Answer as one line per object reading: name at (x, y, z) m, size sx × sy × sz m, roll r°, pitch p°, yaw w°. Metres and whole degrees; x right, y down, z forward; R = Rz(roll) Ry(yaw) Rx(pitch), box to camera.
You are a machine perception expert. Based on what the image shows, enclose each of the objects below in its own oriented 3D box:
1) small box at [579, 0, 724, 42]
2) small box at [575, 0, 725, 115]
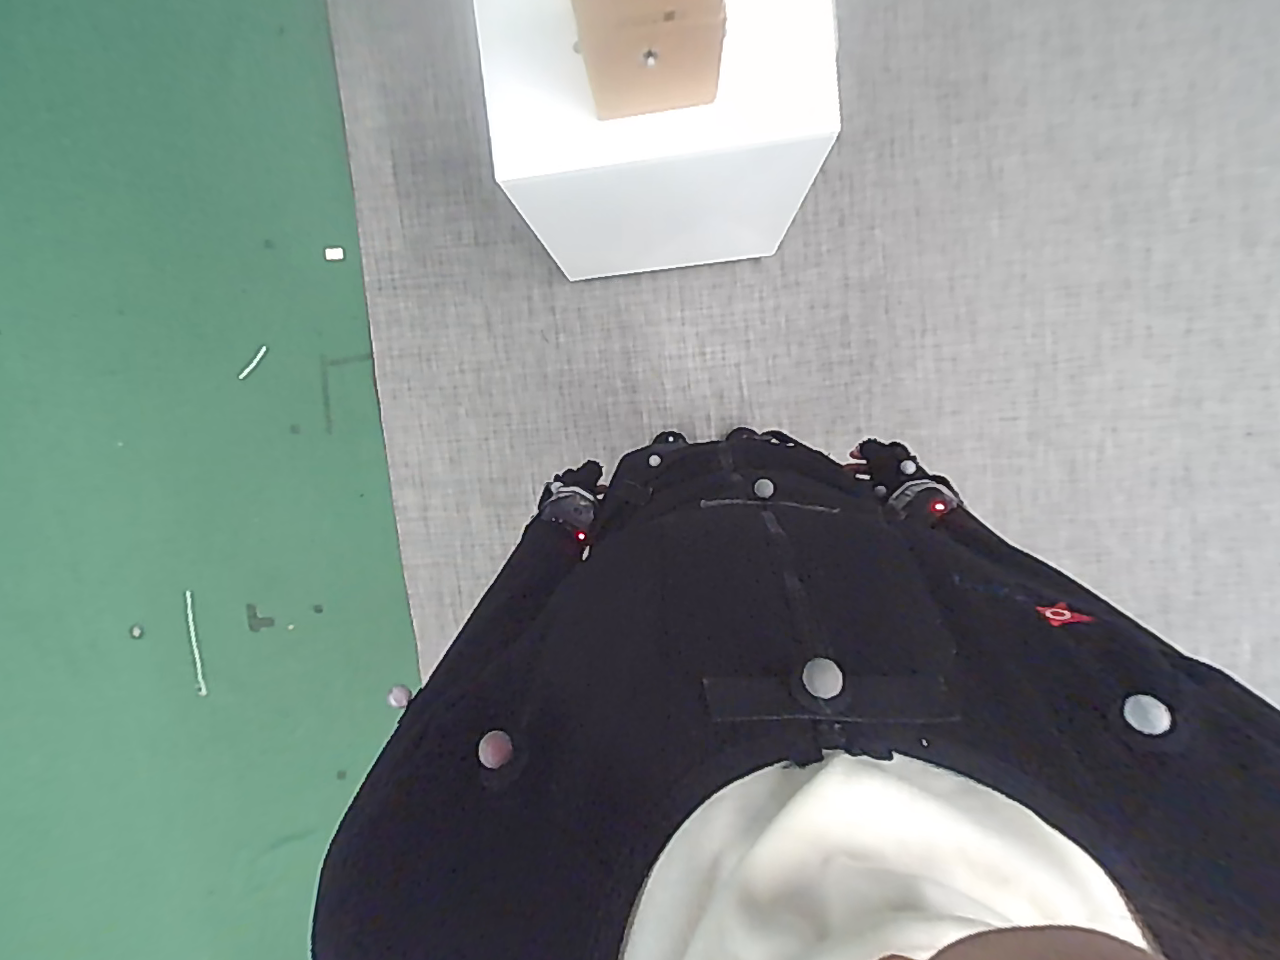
small box at (0.002, -0.600, 0.544) m, size 0.168 × 0.176 × 0.179 m, roll -7°, pitch 96°, yaw 4°
small box at (0.012, -0.612, 0.704) m, size 0.179 × 0.176 × 0.168 m, roll -6°, pitch 95°, yaw 4°
